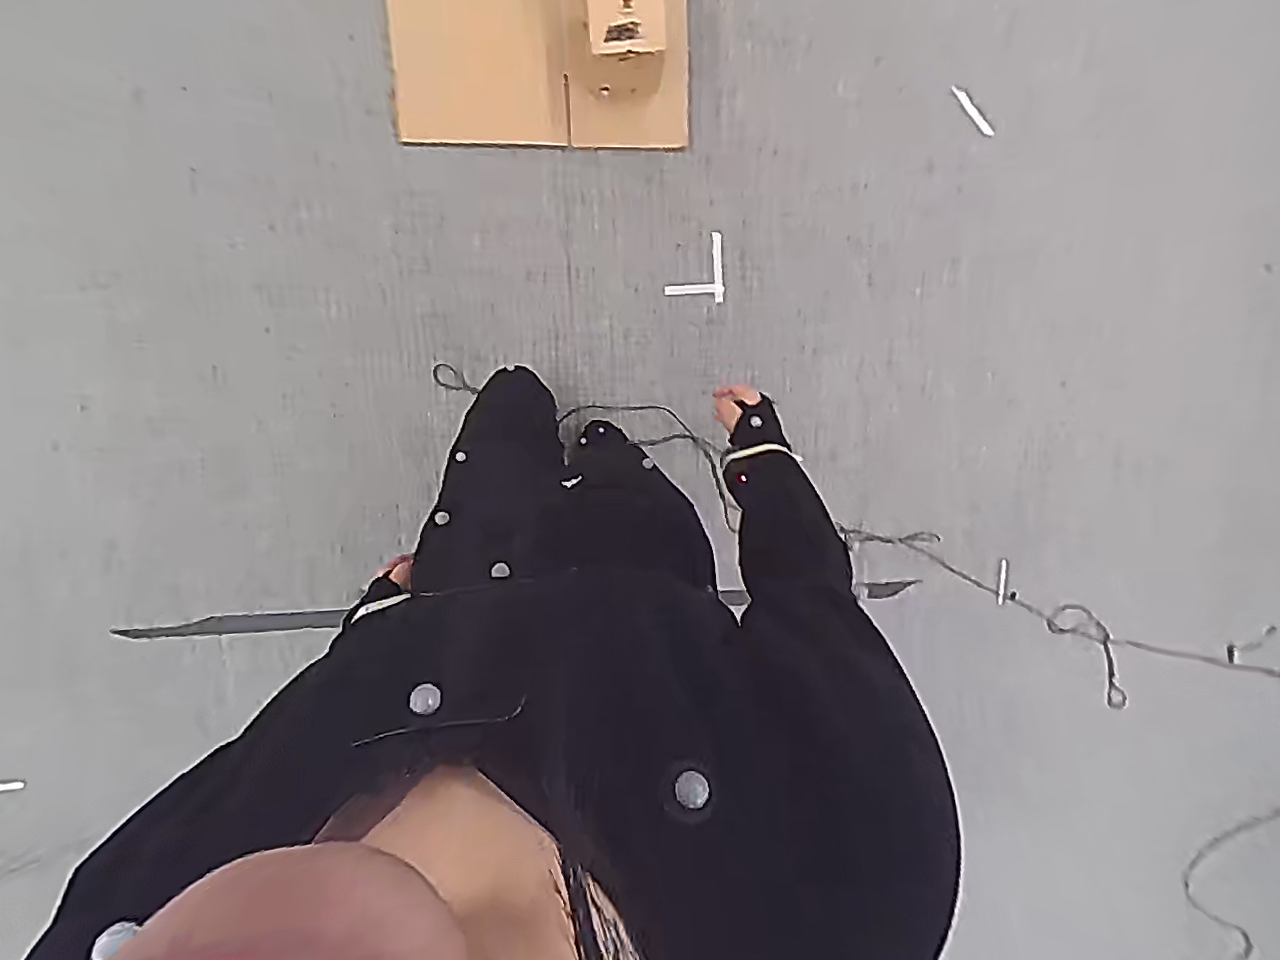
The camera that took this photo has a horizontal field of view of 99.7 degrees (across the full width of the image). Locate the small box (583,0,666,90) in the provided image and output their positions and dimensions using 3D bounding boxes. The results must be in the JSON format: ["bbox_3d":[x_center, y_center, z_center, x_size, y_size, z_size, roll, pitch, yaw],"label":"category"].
[{"bbox_3d":[-0.038,-1.008,1.212,0.168,0.176,0.179,-6,100,-5],"label":"small box"}]
